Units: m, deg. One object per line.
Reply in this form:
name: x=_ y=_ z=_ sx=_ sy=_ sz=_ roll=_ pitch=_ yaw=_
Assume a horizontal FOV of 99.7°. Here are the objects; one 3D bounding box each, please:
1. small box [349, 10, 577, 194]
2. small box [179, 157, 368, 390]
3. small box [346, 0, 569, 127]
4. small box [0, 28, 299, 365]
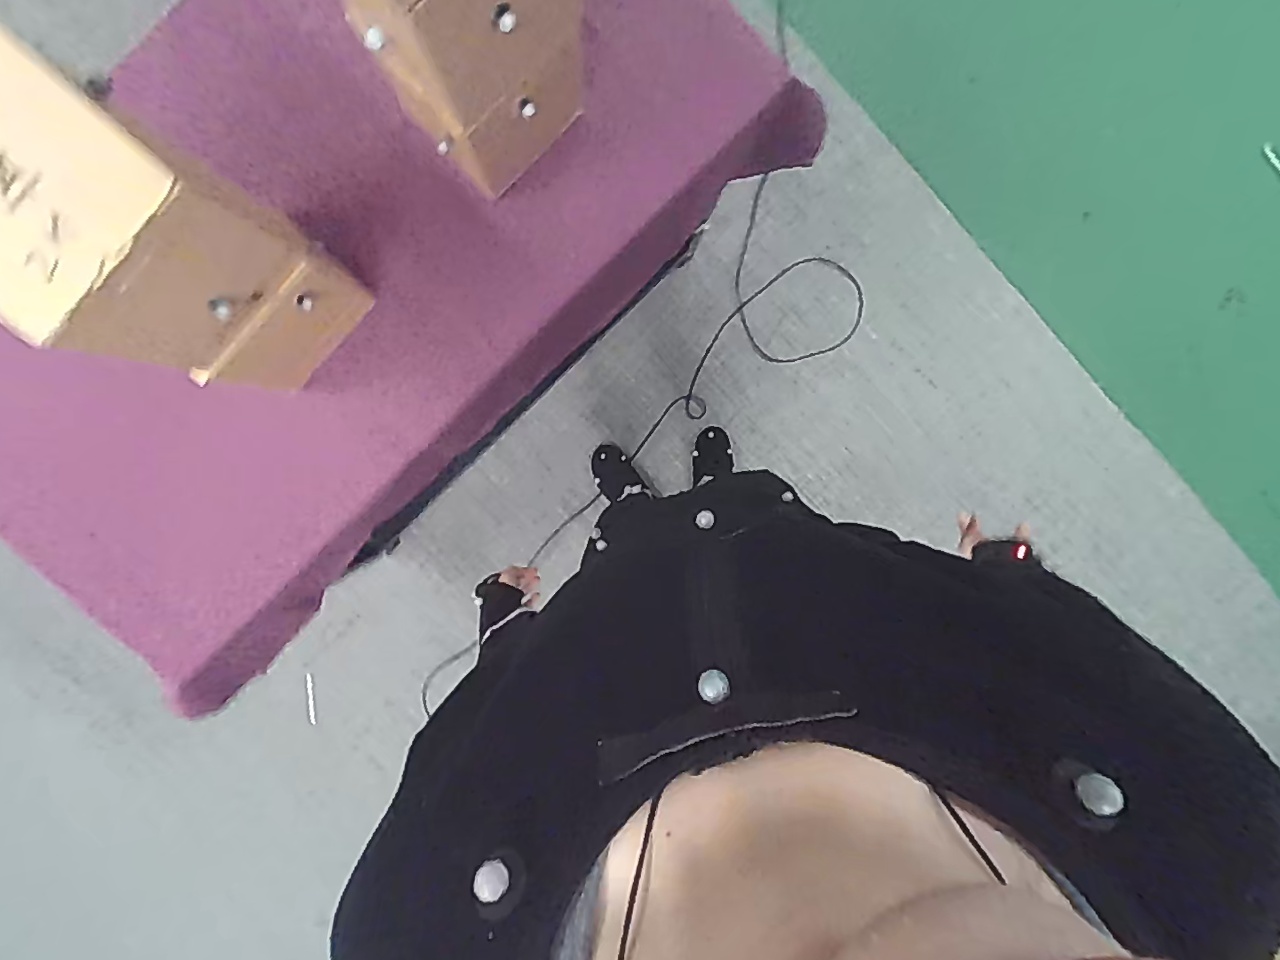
small box: x=-0.189 y=-0.486 z=0.642 sx=0.179 sy=0.176 sz=0.168 roll=-44 pitch=96 yaw=1
small box: x=-0.471 y=-0.226 z=0.651 sx=0.168 sy=0.176 sz=0.179 roll=41 pitch=91 yaw=-5
small box: x=-0.176 y=-0.474 z=0.479 sx=0.179 sy=0.176 sz=0.168 roll=-44 pitch=96 yaw=2
small box: x=-0.467 y=-0.224 z=0.485 sx=0.179 sy=0.176 sz=0.168 roll=42 pitch=92 yaw=-5
